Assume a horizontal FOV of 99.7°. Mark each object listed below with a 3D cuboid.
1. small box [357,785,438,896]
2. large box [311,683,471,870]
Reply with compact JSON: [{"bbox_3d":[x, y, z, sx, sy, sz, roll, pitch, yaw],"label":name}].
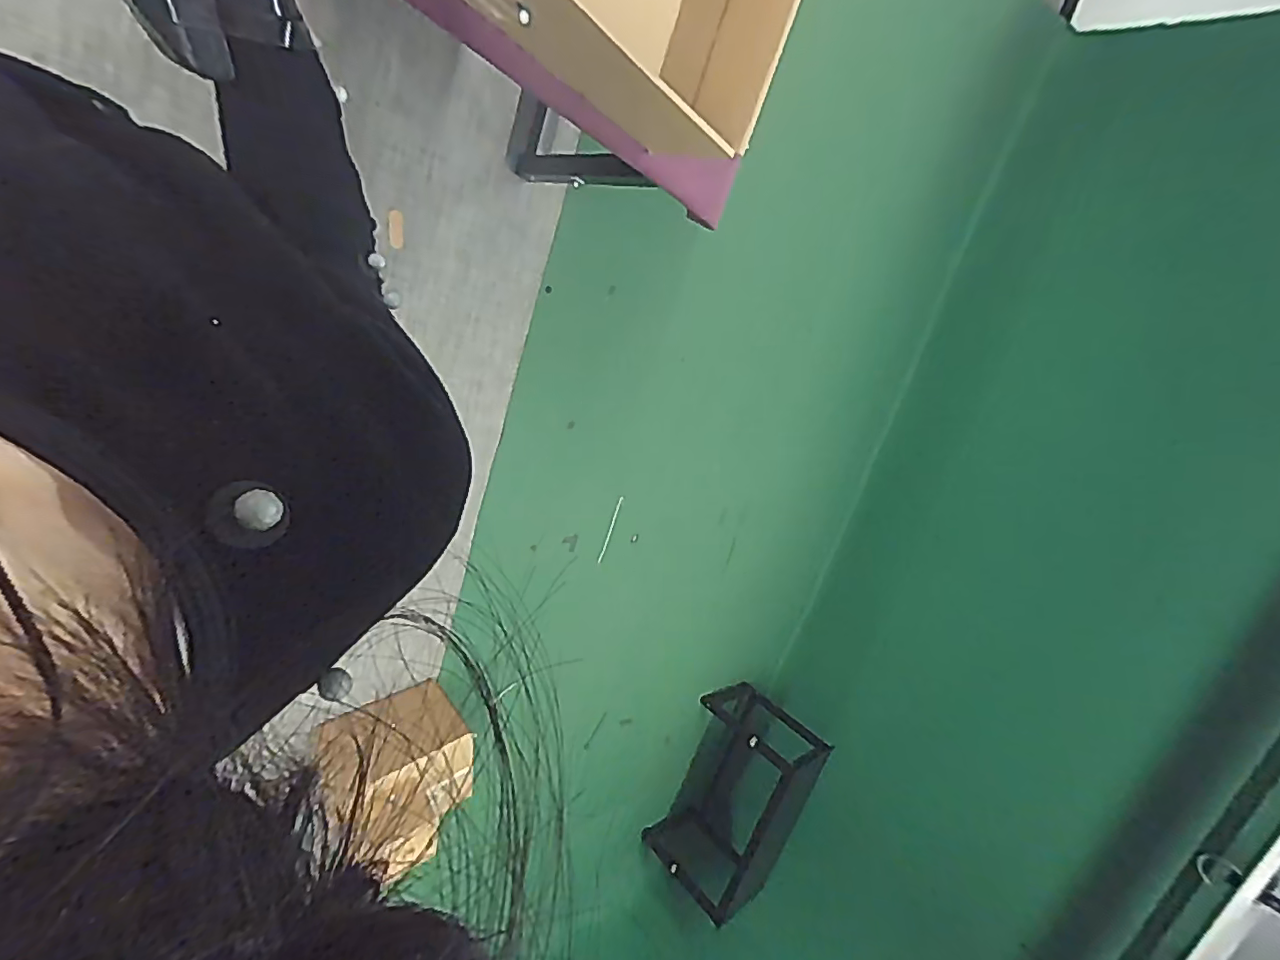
[{"bbox_3d":[-0.721,1.056,1.598,0.179,0.176,0.168,-8,117,-43],"label":"small box"},{"bbox_3d":[-0.828,0.968,1.819,0.408,0.320,0.320,-14,122,-42],"label":"large box"}]
